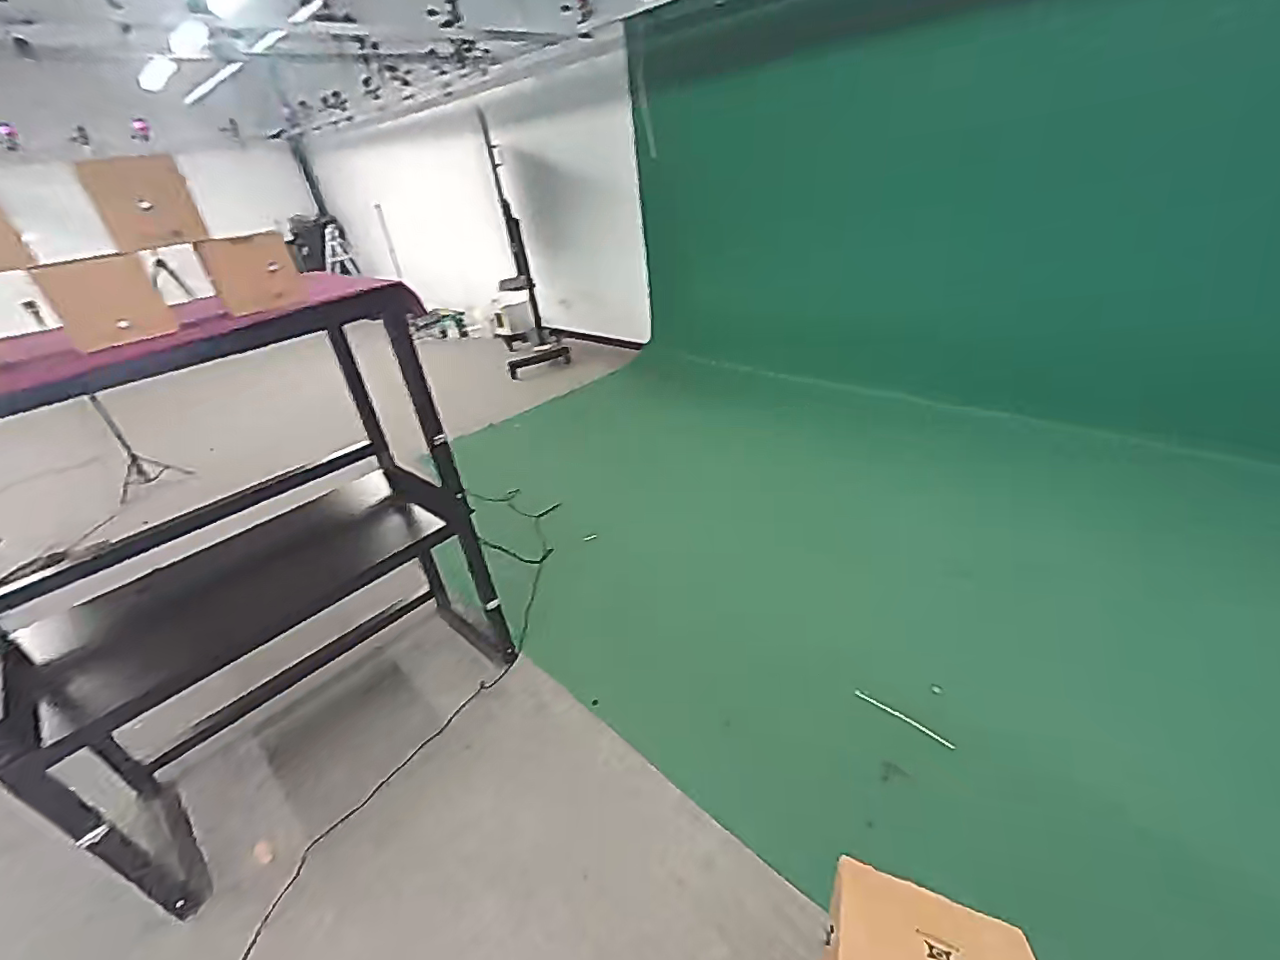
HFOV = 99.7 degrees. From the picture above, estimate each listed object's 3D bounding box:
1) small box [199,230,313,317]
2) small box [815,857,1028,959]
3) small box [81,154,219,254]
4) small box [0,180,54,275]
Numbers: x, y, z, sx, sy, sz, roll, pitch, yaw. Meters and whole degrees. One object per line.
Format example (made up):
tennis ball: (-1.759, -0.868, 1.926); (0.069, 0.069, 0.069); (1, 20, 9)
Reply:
small box: (-0.930, -0.503, 1.318); (0.168, 0.176, 0.179); (-29, 36, -32)
small box: (0.232, 0.481, 0.459); (0.168, 0.176, 0.179); (10, -3, 22)
small box: (-1.043, -0.588, 1.160); (0.168, 0.176, 0.179); (-29, 36, -33)
small box: (-1.242, -0.460, 0.986); (0.179, 0.176, 0.168); (-30, 37, -35)
